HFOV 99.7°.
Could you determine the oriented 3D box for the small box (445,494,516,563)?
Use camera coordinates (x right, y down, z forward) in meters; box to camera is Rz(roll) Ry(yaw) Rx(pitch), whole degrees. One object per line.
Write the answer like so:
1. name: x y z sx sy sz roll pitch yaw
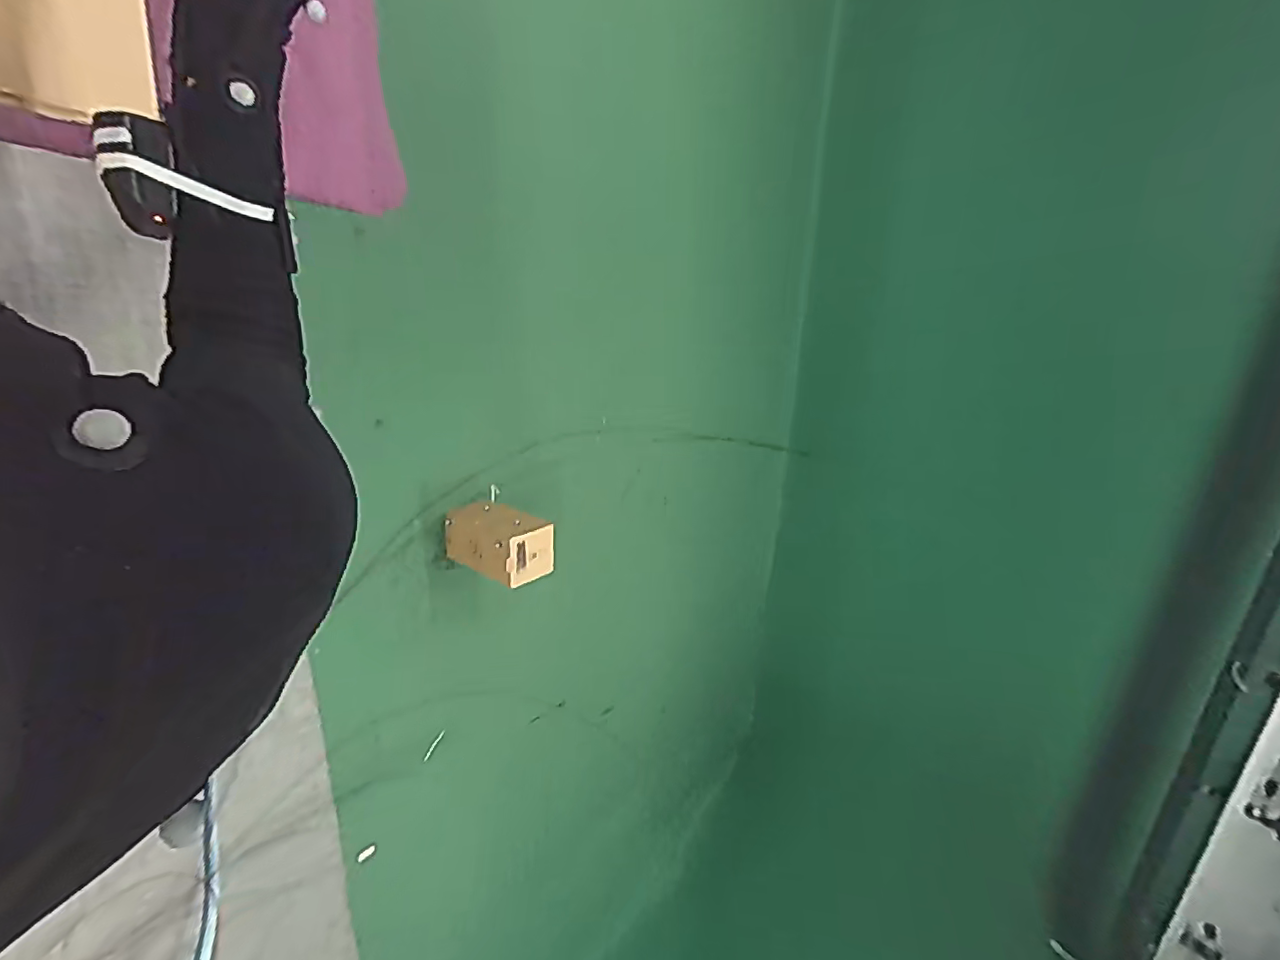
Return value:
1. small box: -0.535 0.157 1.806 0.179 0.176 0.168 -17 117 -50
